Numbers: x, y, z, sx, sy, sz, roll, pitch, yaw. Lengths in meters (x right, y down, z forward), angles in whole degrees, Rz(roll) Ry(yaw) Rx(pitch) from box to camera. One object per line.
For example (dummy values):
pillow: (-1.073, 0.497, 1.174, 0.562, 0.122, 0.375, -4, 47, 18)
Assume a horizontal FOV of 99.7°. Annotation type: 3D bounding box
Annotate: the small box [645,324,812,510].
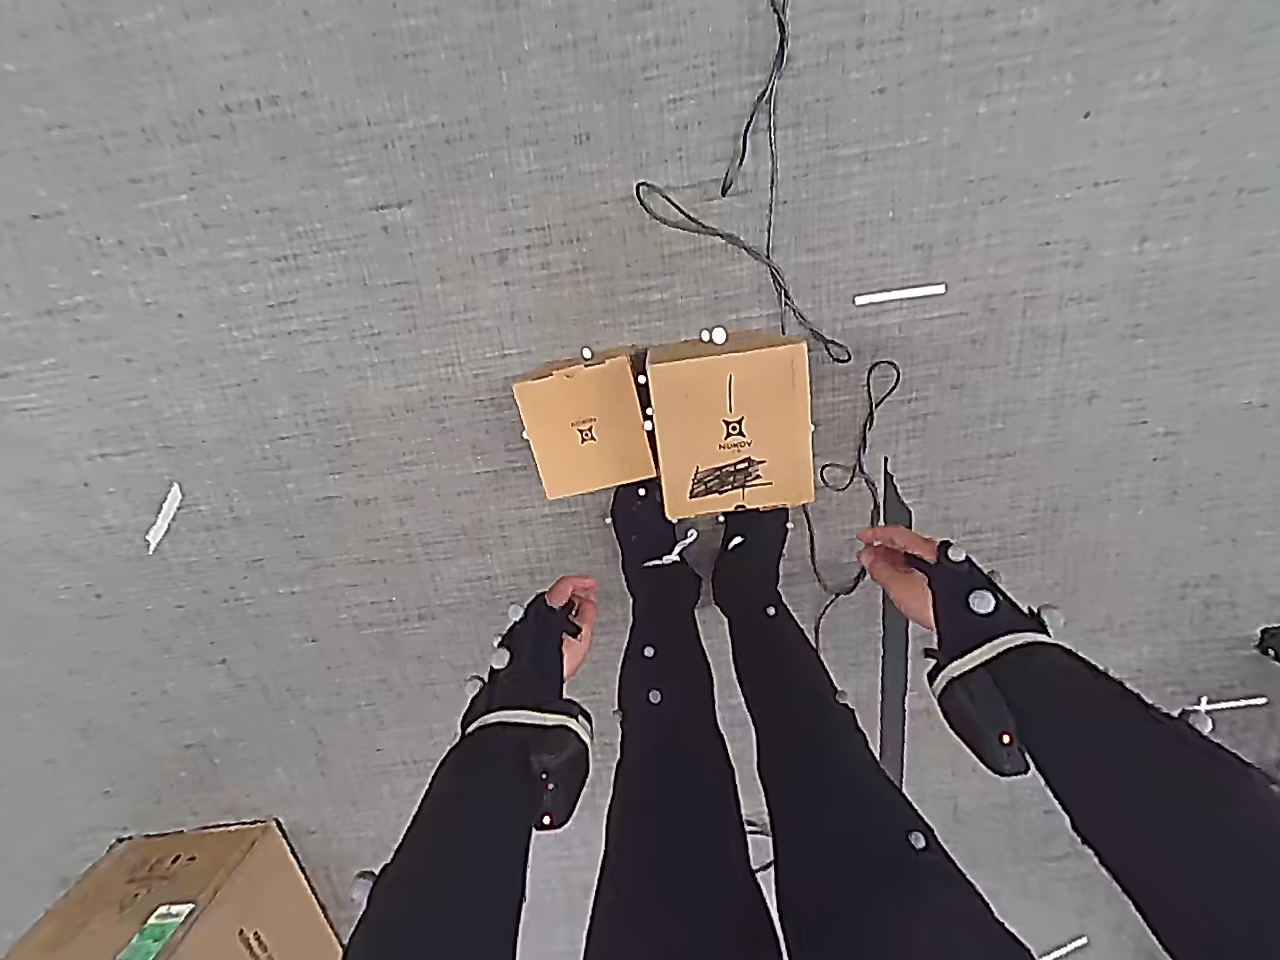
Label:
small box: (0.099, -0.082, 0.640, 0.168, 0.176, 0.179, -7, 108, 4)
